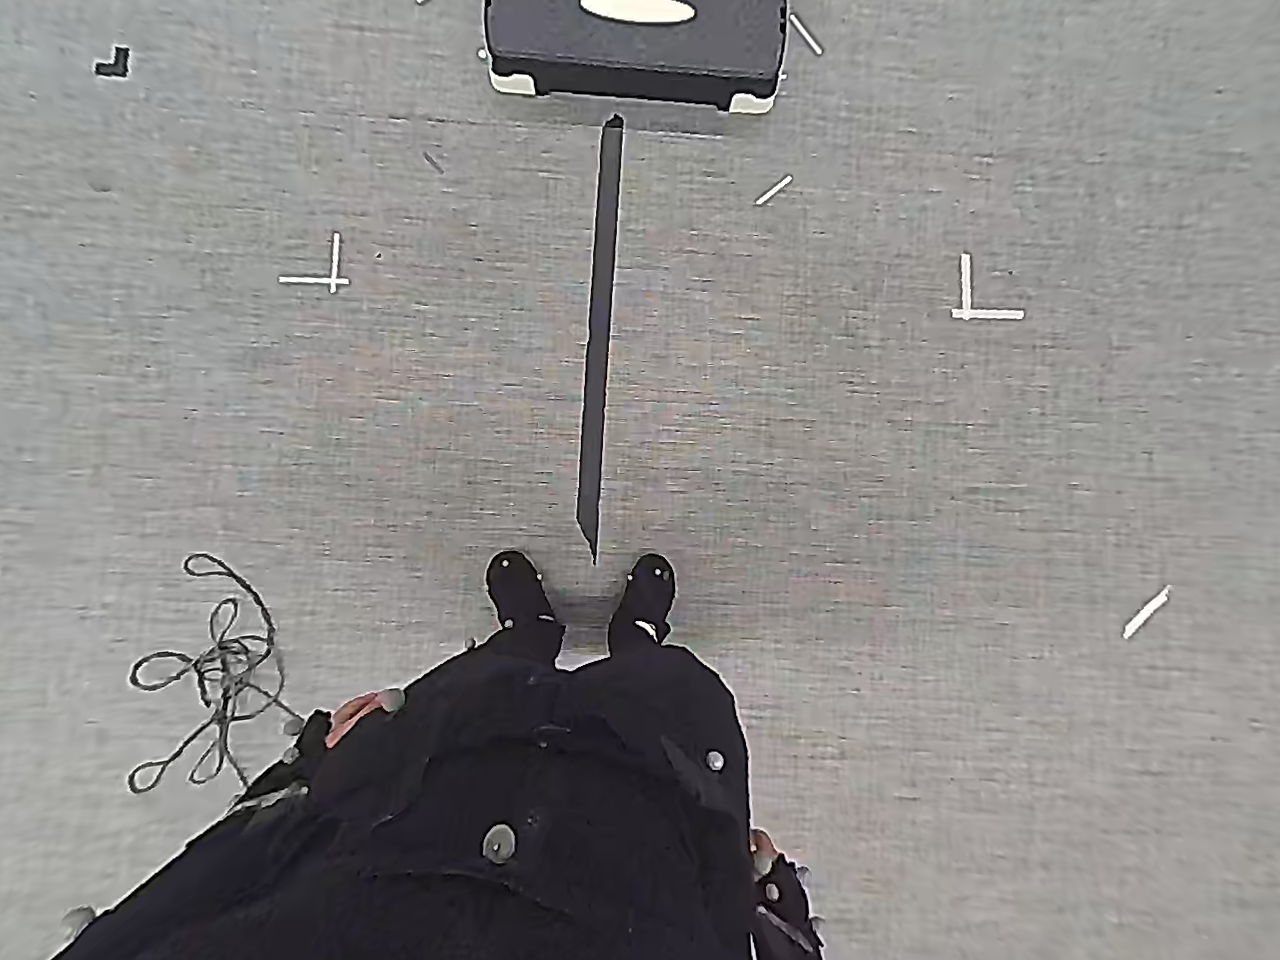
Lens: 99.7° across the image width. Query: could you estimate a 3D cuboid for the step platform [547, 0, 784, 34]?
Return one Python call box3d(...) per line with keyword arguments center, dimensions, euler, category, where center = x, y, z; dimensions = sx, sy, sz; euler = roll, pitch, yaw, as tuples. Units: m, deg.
box3d(center=(0.028, -1.276, 1.237), dimensions=(0.684, 0.204, 0.286), euler=(7, 85, -3), category="step platform")
